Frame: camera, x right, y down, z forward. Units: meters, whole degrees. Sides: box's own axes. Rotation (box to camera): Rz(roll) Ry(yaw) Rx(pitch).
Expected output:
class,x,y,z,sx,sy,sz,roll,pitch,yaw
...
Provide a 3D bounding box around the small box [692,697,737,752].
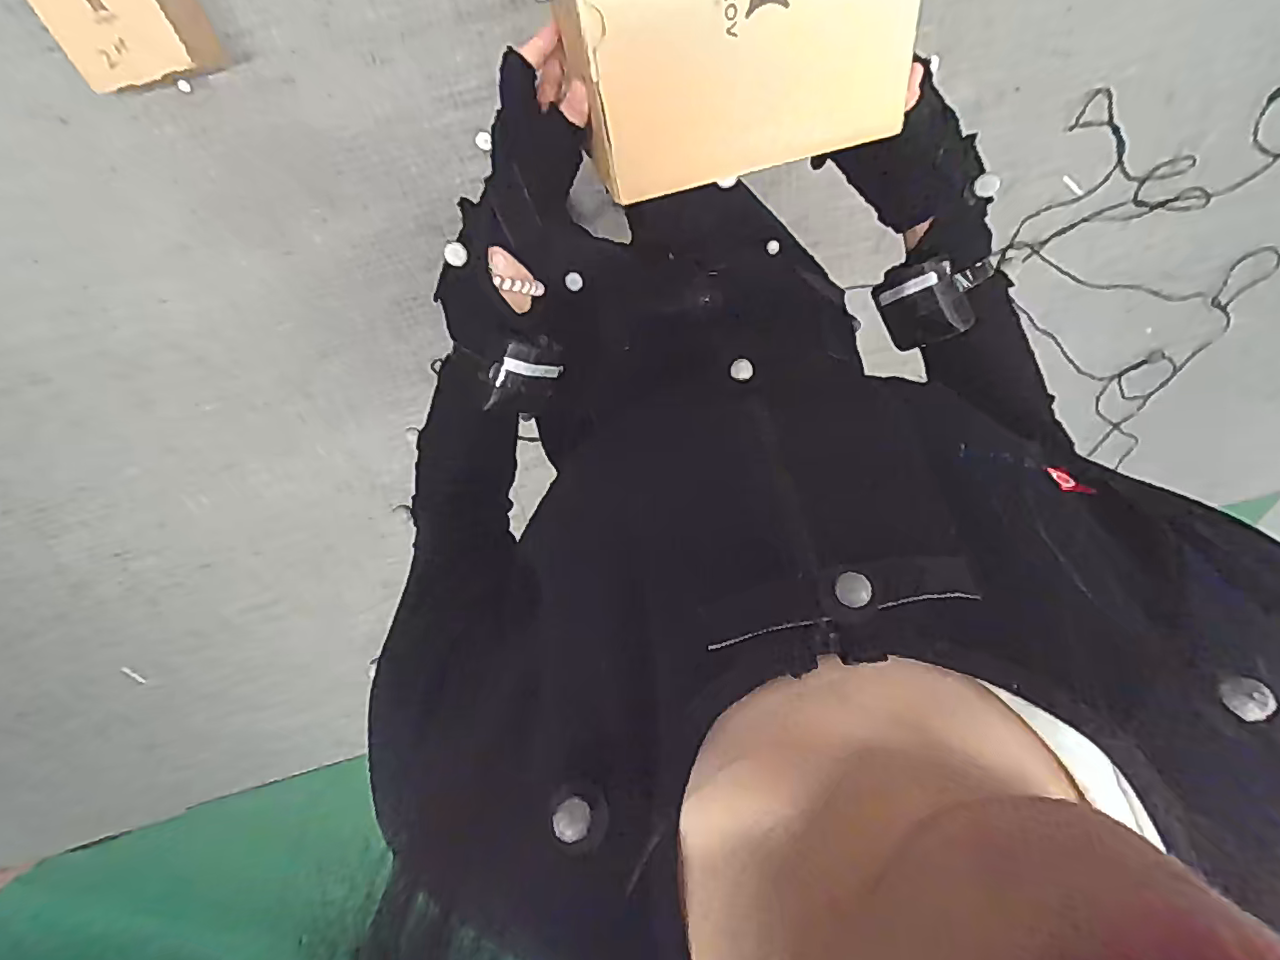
class,x,y,z,sx,sy,sz,roll,pitch,yaw
small box,0.365,1.207,2.676,0.179,0.176,0.168,-19,130,-1

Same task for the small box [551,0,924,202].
class,x,y,z,sx,sy,sz,roll,pitch,yaw
small box,0.041,-0.291,0.312,0.179,0.176,0.168,-15,134,-1

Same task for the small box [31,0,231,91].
class,x,y,z,sx,sy,sz,roll,pitch,yaw
small box,-0.808,-0.742,0.856,0.168,0.176,0.179,-17,130,0
